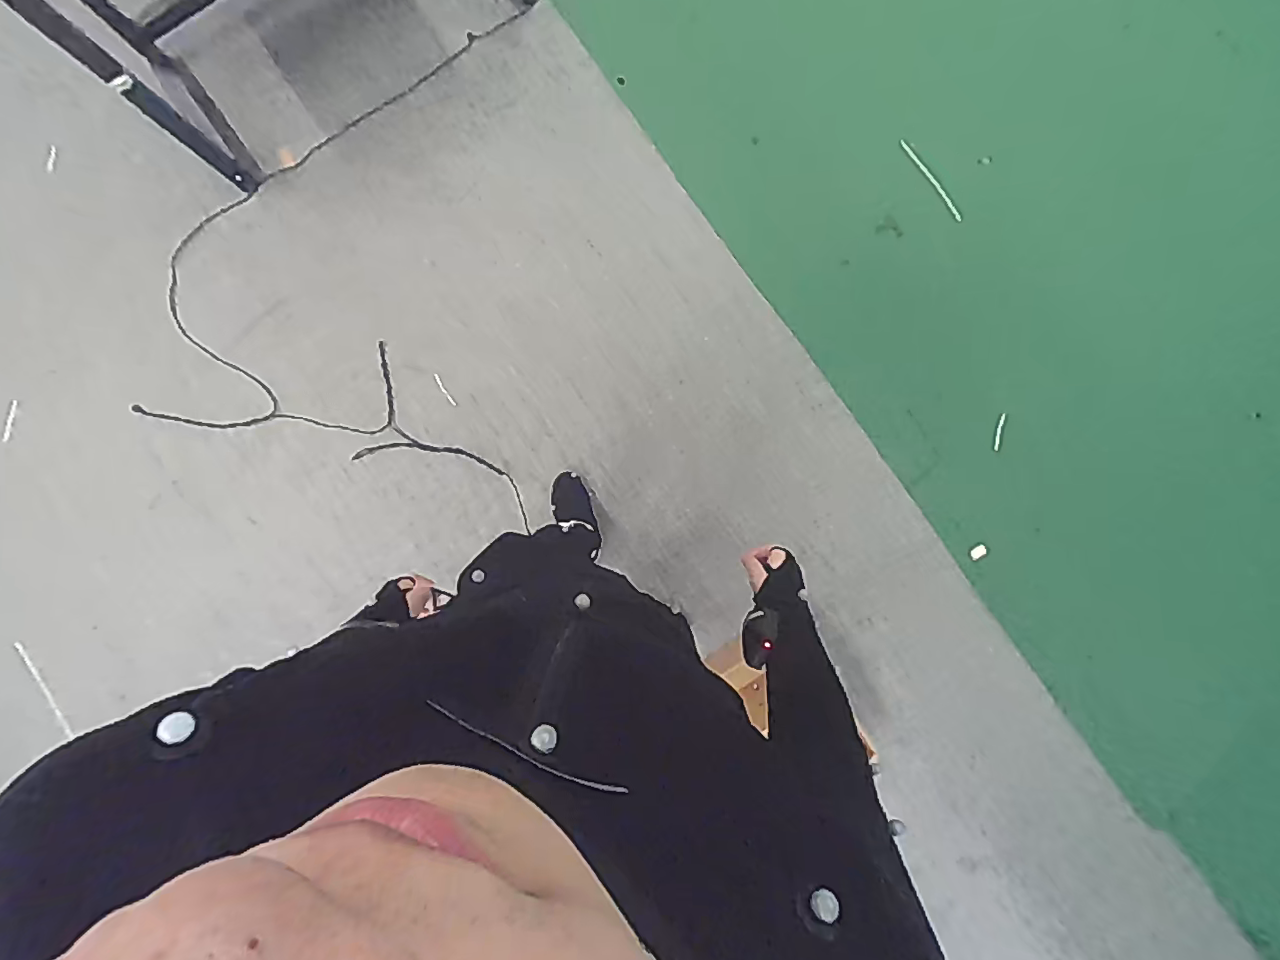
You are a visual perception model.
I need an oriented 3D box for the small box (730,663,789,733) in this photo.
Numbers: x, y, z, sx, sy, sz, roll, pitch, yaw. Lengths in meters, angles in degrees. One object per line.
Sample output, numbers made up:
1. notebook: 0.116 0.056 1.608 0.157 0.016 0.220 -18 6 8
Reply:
1. small box: 0.364 0.624 1.480 0.168 0.176 0.179 -34 86 0
